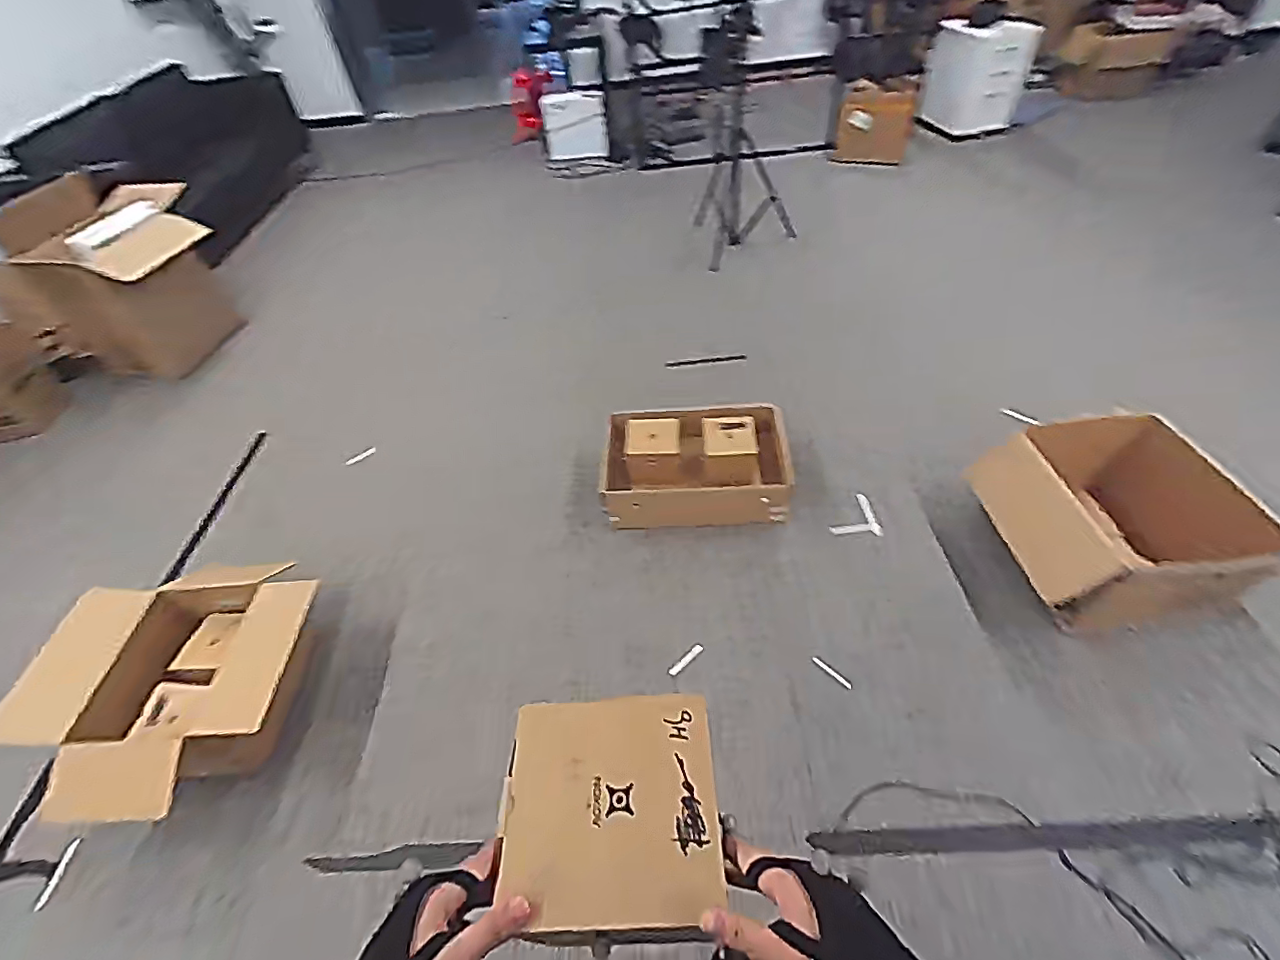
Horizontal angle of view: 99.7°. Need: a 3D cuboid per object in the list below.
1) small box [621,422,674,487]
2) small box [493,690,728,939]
[{"bbox_3d":[0.031,-0.088,1.926,0.179,0.176,0.168,-1,50,4],"label":"small box"},{"bbox_3d":[-0.014,0.315,0.506,0.179,0.176,0.168,-5,46,5],"label":"small box"}]
